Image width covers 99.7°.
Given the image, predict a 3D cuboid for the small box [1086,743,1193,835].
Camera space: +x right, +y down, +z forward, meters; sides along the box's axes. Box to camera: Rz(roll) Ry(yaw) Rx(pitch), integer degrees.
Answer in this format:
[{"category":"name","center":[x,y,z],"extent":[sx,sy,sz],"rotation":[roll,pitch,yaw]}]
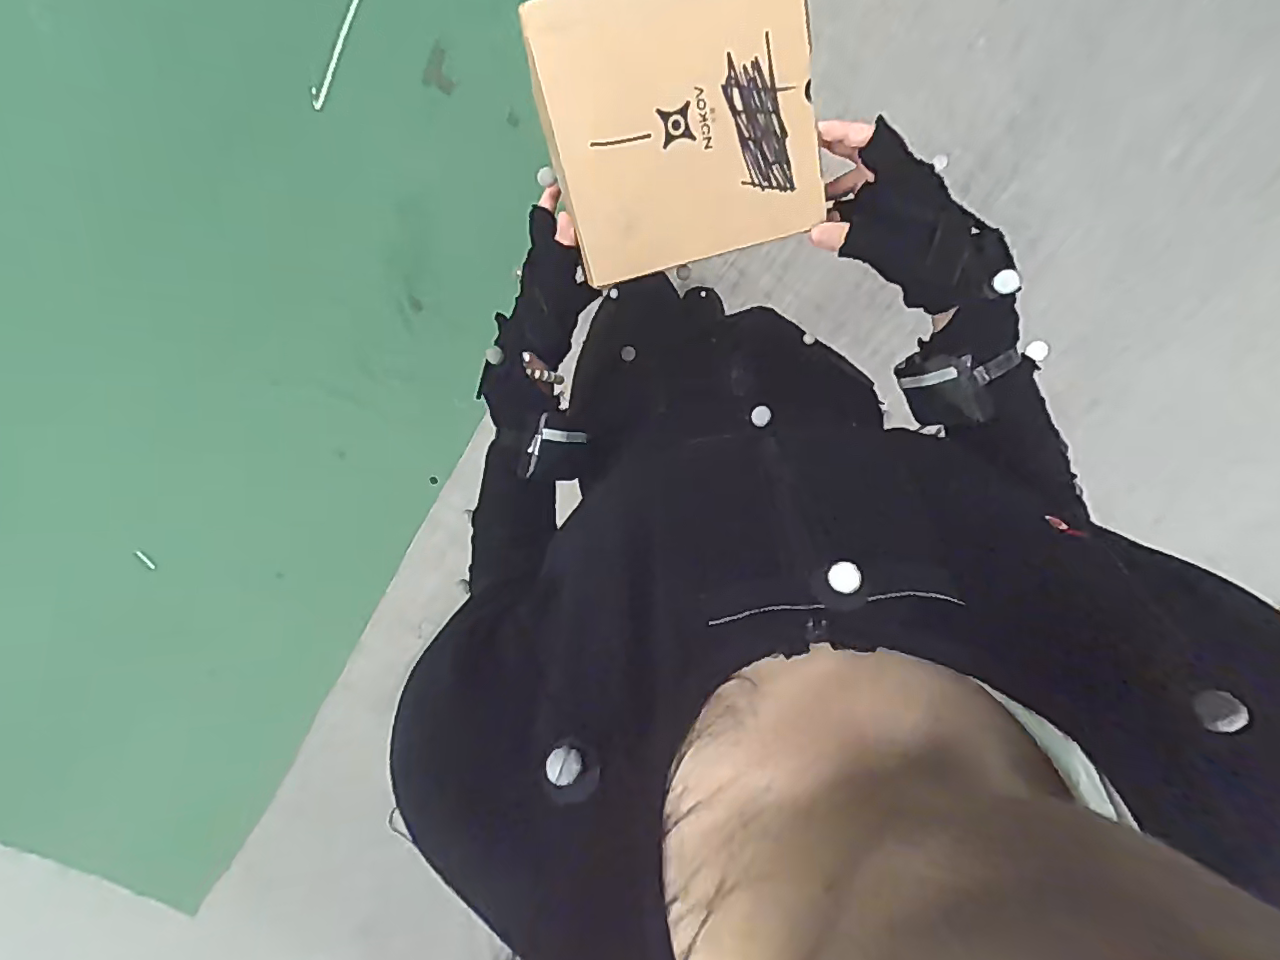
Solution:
[{"category":"small box","center":[1.648,1.027,1.803],"extent":[0.168,0.176,0.179],"rotation":[31,110,-9]}]

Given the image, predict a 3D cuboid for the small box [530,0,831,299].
[{"category":"small box","center":[0.024,-0.249,0.420],"extent":[0.179,0.176,0.168],"rotation":[-15,113,-1]}]
